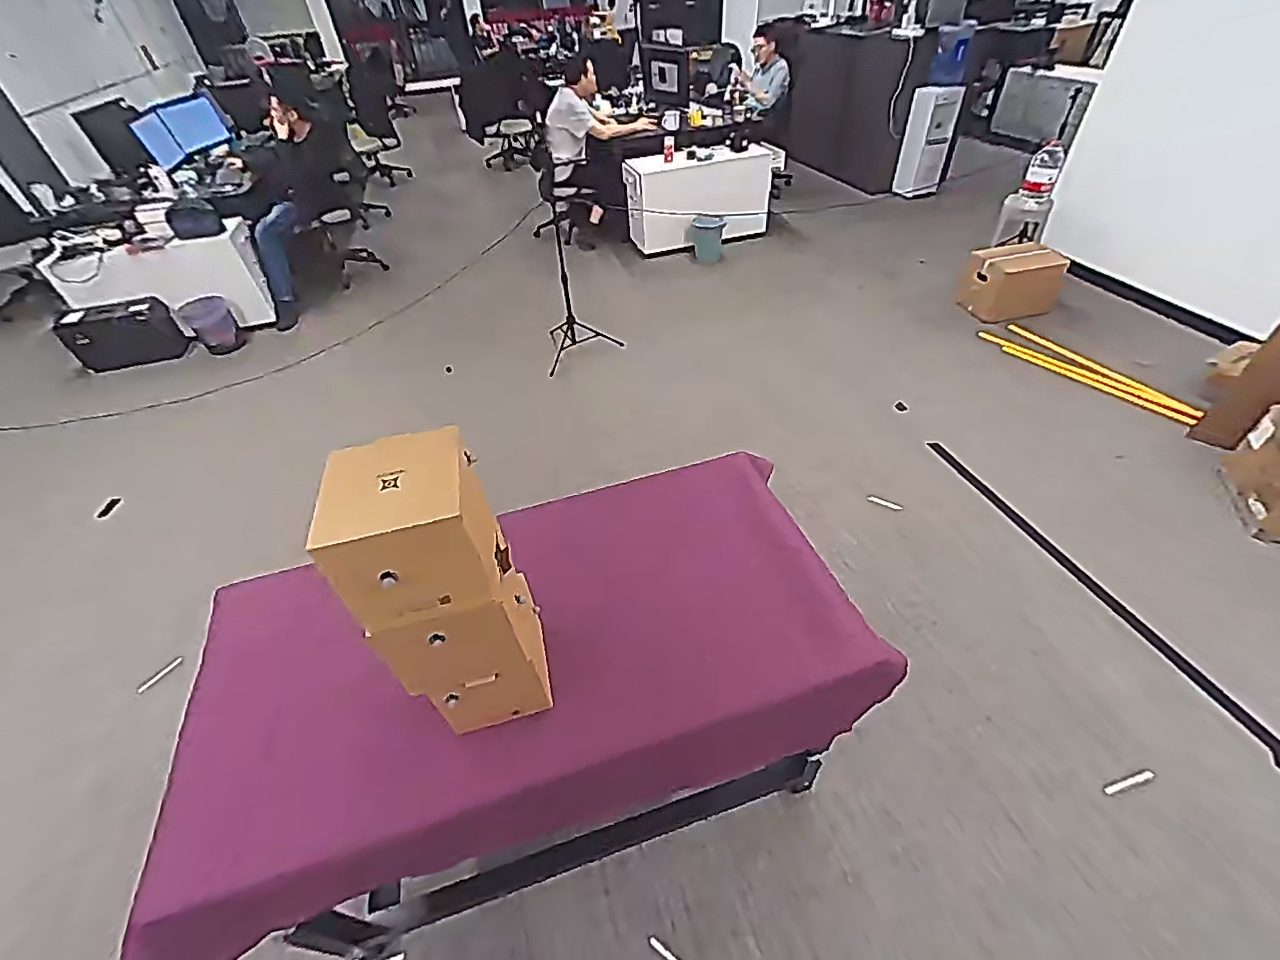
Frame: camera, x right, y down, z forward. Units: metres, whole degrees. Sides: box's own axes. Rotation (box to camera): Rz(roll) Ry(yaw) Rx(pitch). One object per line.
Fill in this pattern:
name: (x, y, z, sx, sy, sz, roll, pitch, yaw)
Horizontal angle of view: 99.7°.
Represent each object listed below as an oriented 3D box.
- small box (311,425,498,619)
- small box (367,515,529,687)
small box: (-0.287, 0.059, 0.699, 0.168, 0.176, 0.179, -13, 43, -8)
small box: (-0.275, 0.182, 0.805, 0.179, 0.176, 0.168, -12, 44, -8)
